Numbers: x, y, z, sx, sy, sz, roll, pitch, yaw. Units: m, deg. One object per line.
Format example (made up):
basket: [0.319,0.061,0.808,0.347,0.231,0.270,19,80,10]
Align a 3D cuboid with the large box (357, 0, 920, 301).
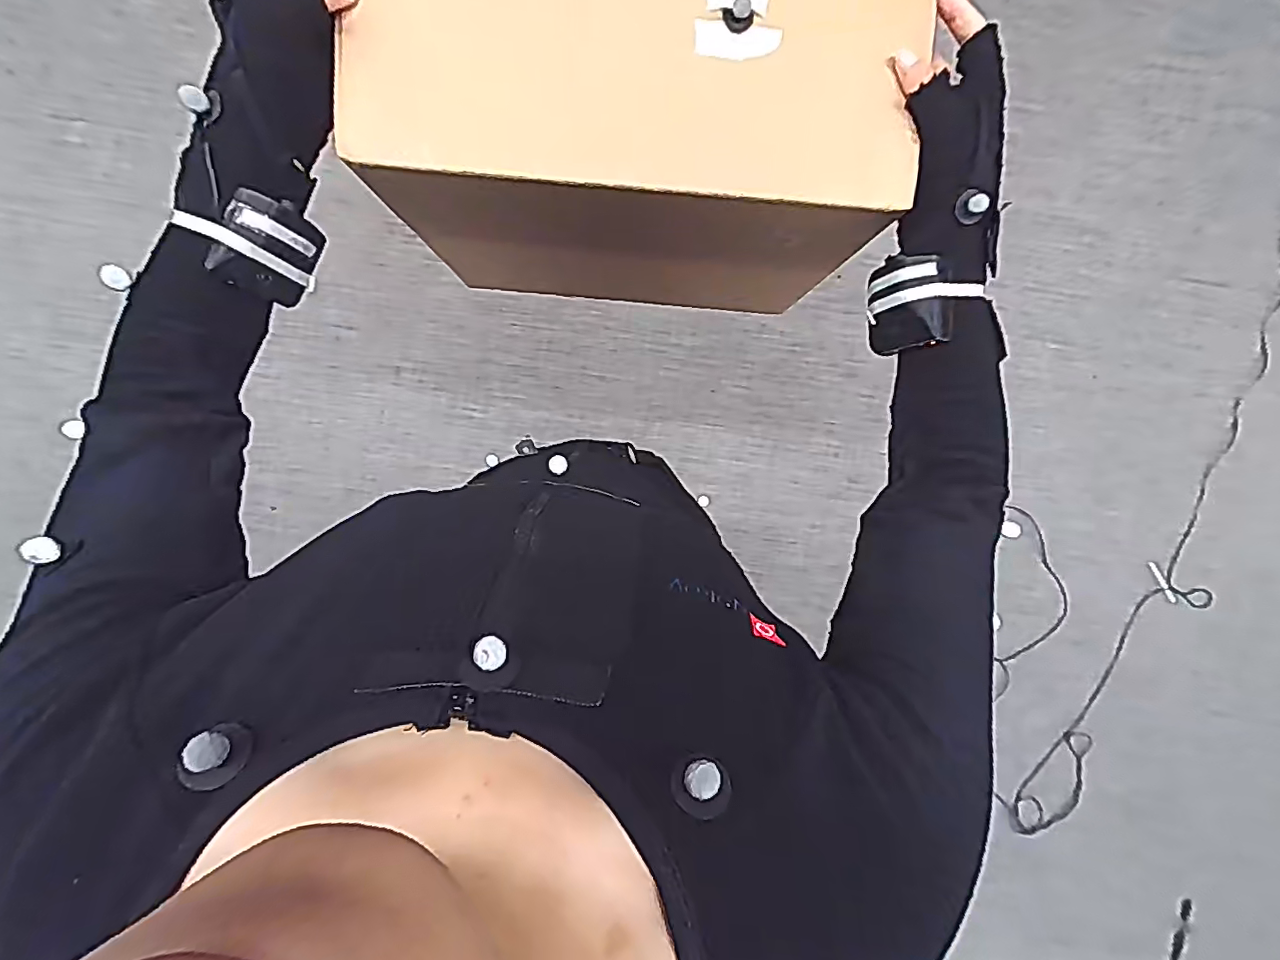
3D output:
large box: [-0.002,-0.380,0.529,0.408,0.320,0.320,4,94,-3]
